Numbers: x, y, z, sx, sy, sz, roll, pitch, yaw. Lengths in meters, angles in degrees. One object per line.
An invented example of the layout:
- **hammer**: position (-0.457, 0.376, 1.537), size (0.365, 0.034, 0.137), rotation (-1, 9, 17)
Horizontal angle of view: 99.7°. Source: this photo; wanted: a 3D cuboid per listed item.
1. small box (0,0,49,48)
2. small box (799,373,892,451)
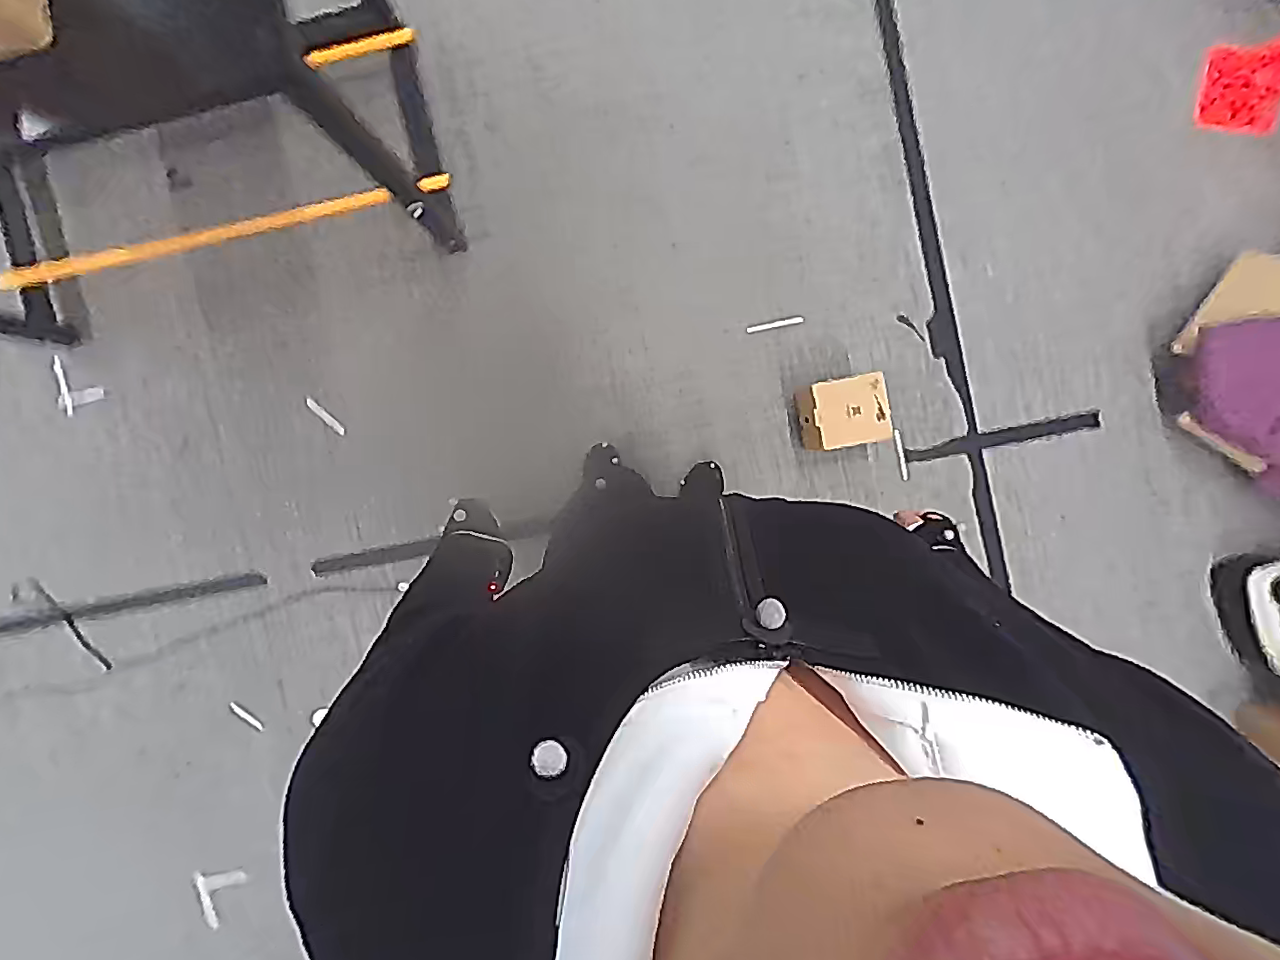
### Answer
- **small box**: position (-0.913, -0.669, 0.665), size (0.179, 0.176, 0.168), rotation (-11, 93, 2)
- **small box**: position (0.515, -0.168, 1.384), size (0.179, 0.176, 0.168), rotation (-10, 92, 3)
